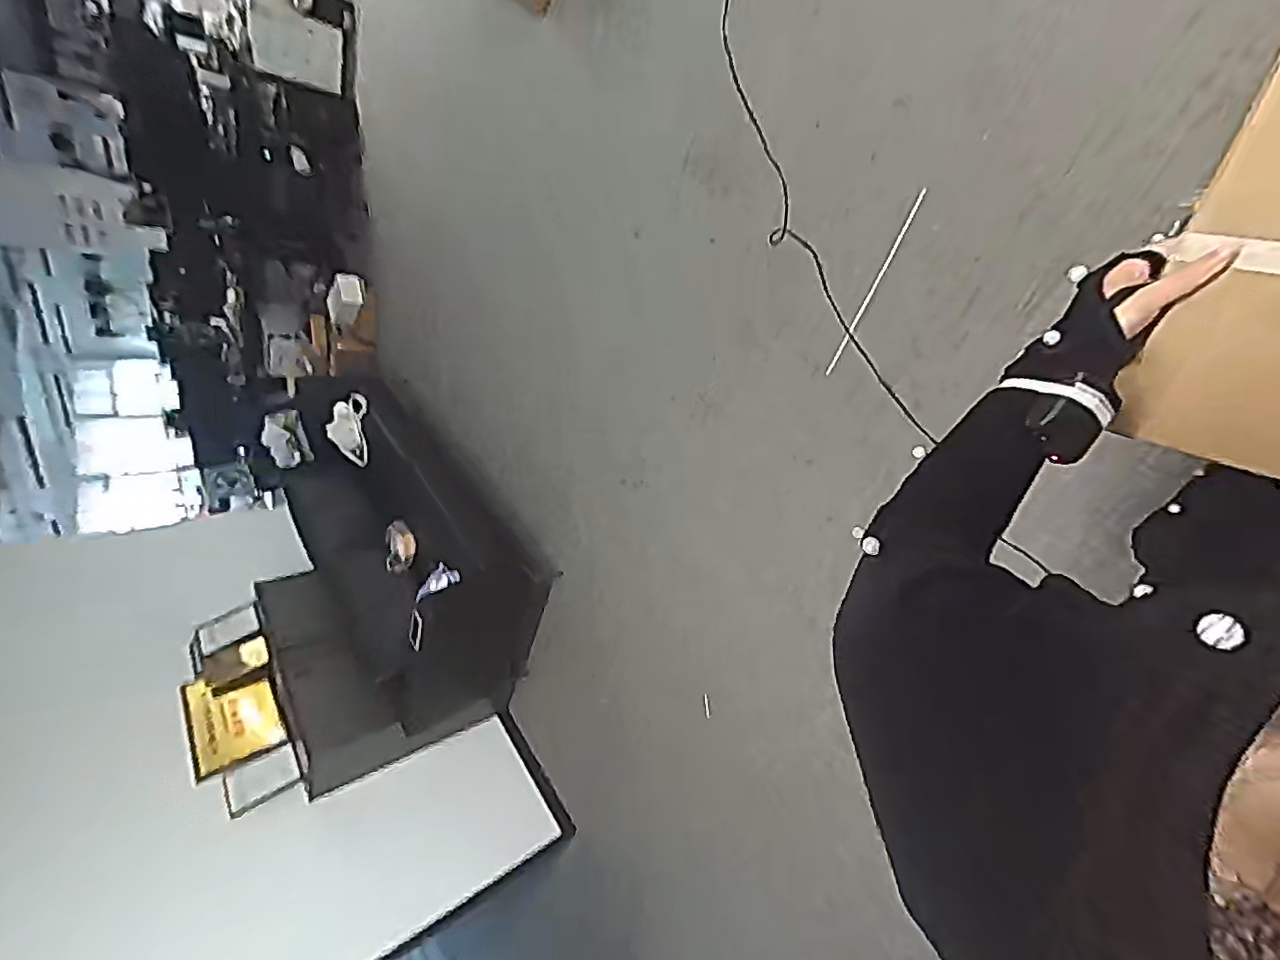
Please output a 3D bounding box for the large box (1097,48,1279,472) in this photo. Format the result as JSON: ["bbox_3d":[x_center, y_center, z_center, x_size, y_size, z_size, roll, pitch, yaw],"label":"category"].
[{"bbox_3d":[0.684,-0.153,0.442,0.408,0.320,0.320,27,121,32],"label":"large box"}]
